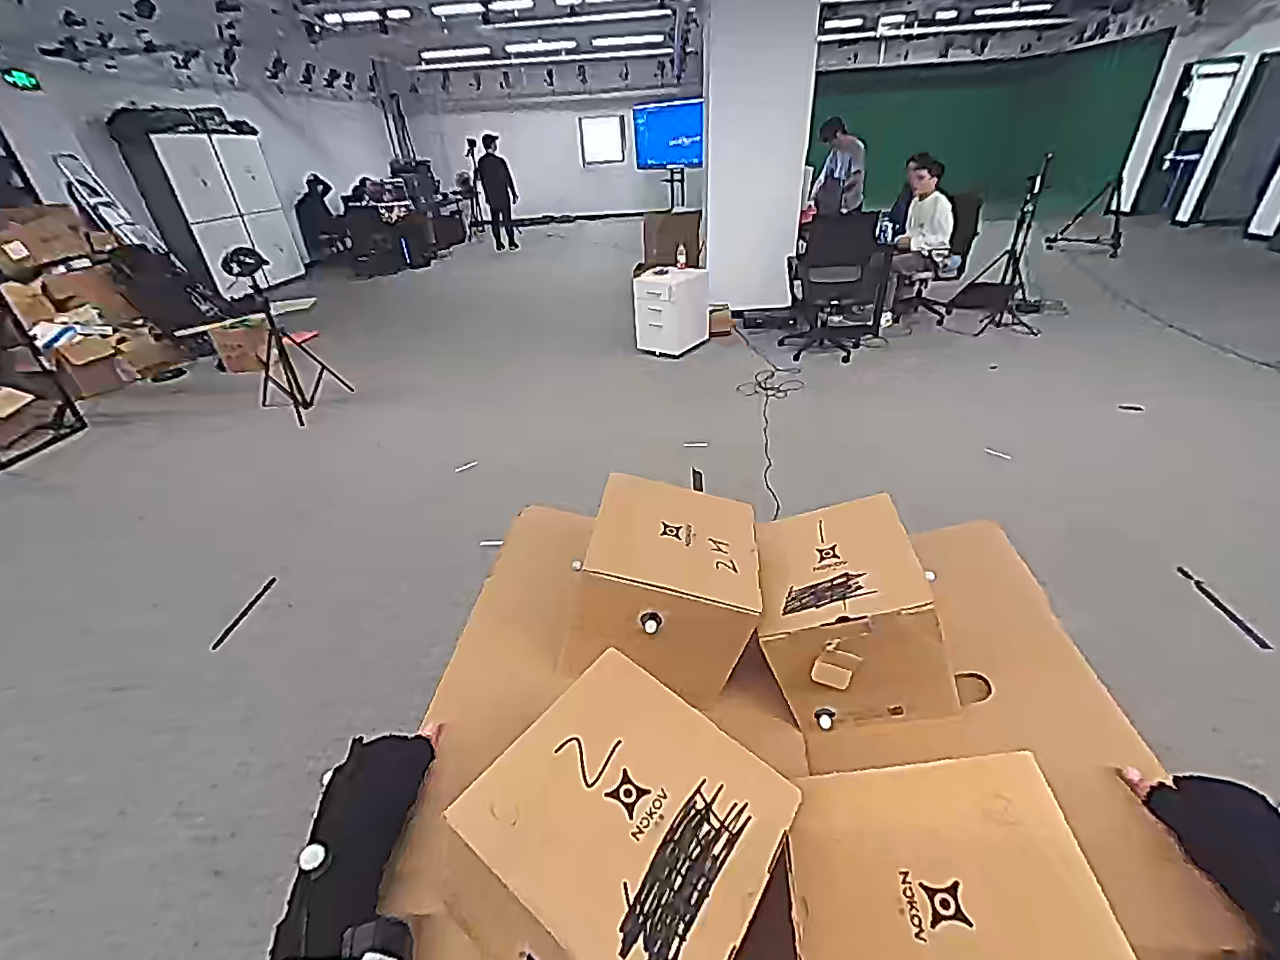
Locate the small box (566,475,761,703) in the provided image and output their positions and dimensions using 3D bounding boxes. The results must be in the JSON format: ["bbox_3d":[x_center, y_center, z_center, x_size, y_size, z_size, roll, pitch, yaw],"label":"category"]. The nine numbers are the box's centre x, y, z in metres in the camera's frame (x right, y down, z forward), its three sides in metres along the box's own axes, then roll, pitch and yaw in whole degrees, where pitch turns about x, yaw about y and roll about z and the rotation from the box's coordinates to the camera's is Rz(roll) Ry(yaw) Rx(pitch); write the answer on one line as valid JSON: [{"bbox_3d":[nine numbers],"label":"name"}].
[{"bbox_3d":[0.024,0.123,0.612,0.179,0.176,0.168,15,36,-1],"label":"small box"}]

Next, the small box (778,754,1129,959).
[{"bbox_3d":[0.209,0.317,0.367,0.179,0.176,0.168,-19,31,19],"label":"small box"}]
